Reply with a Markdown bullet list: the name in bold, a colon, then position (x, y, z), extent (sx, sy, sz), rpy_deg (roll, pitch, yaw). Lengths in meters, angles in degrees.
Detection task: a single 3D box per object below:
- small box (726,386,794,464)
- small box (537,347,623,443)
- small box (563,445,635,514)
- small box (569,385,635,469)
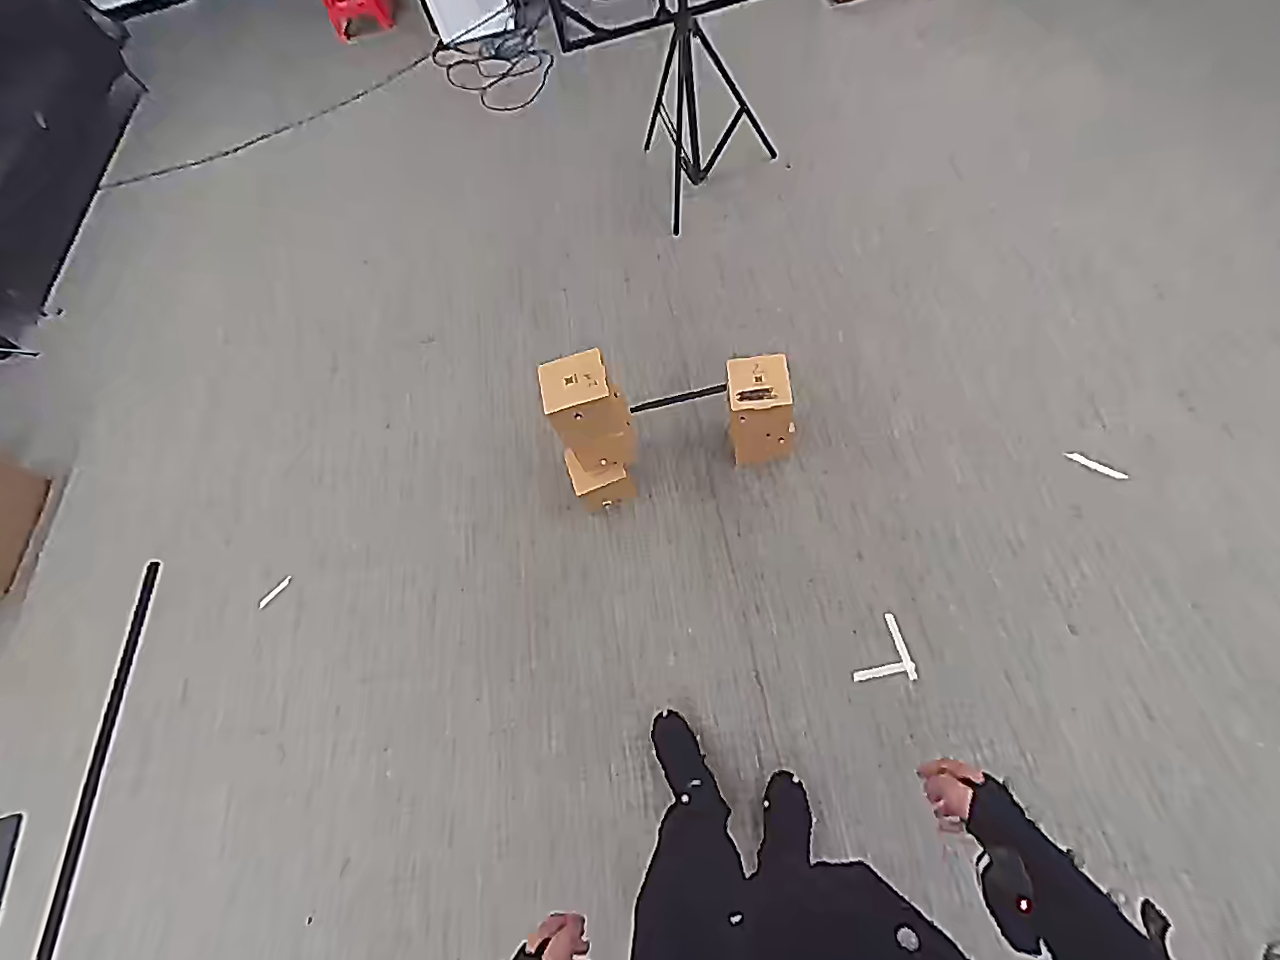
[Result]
- **small box**: position (0.372, -0.165, 1.695), extent (0.179, 0.176, 0.168), rpy_deg (-11, 63, 5)
- **small box**: position (-0.159, -0.222, 1.457), extent (0.179, 0.176, 0.168), rpy_deg (-16, 62, 4)
- **small box**: position (-0.127, -0.020, 1.722), extent (0.168, 0.176, 0.179), rpy_deg (-22, 62, 1)
- **small box**: position (-0.113, -0.153, 1.600), extent (0.168, 0.176, 0.179), rpy_deg (-9, 63, 8)
